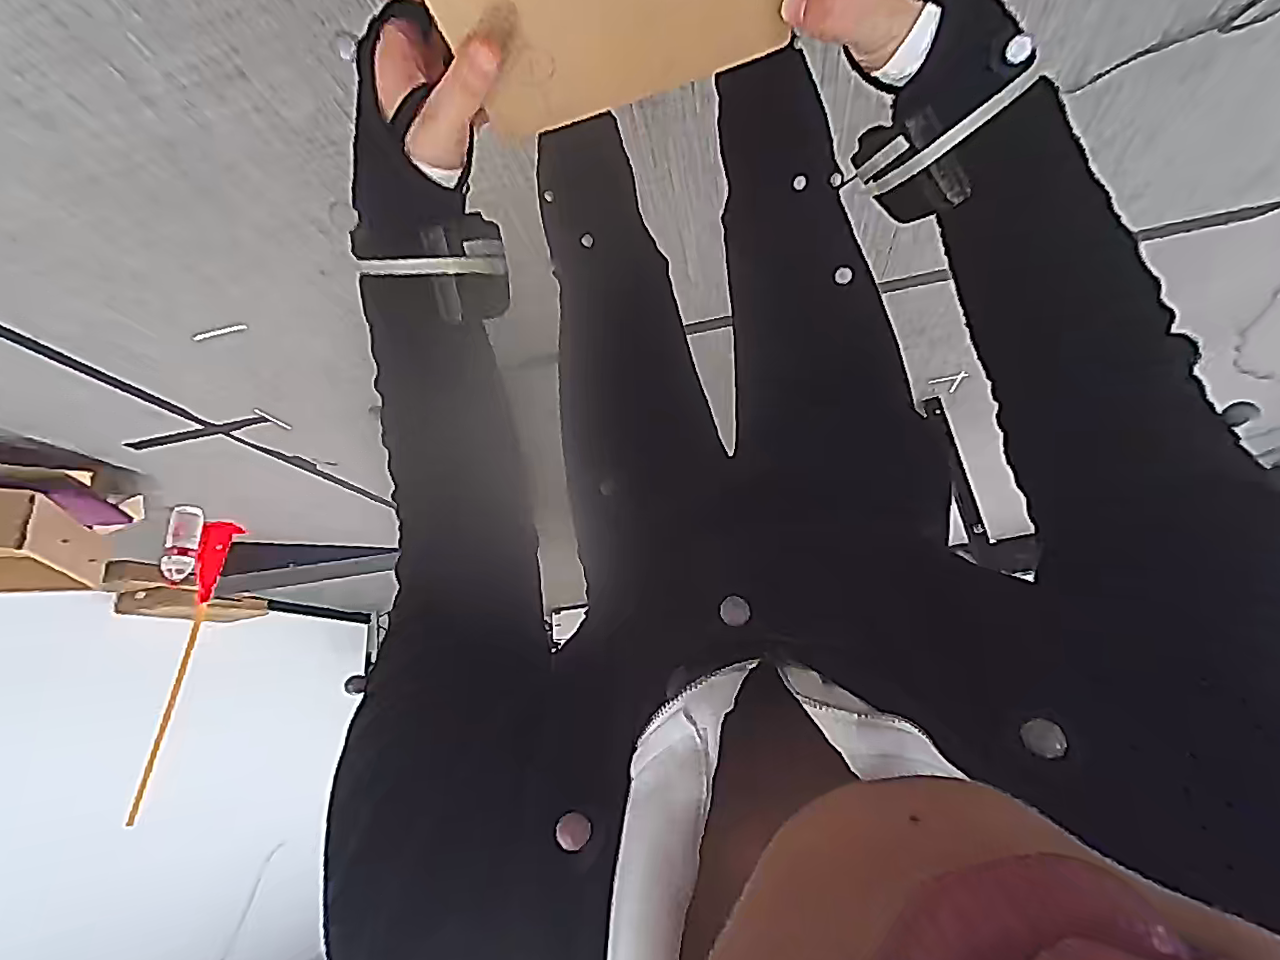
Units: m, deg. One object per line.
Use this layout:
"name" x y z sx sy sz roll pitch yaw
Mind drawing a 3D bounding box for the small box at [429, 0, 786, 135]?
"small box" -0.031 -0.327 0.270 0.179 0.176 0.168 -12 159 10

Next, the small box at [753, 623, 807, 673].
"small box" 0.565 0.678 2.183 0.179 0.176 0.168 -13 158 13
